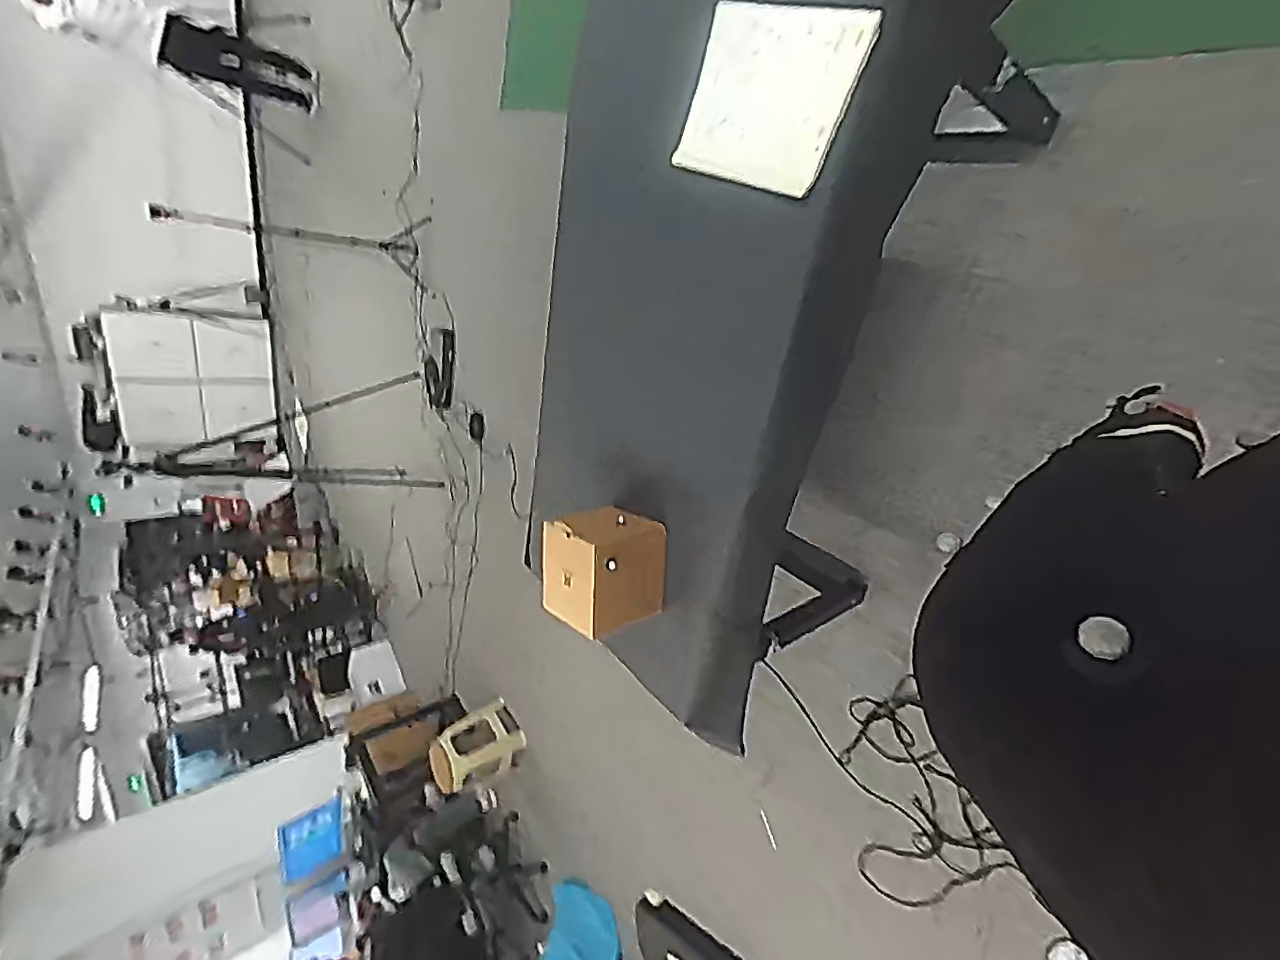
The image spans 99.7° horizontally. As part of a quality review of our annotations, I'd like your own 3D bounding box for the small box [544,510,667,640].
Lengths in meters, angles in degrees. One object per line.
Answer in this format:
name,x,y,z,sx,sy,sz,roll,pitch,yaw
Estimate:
small box,-0.065,0.167,1.014,0.168,0.176,0.179,15,108,47
